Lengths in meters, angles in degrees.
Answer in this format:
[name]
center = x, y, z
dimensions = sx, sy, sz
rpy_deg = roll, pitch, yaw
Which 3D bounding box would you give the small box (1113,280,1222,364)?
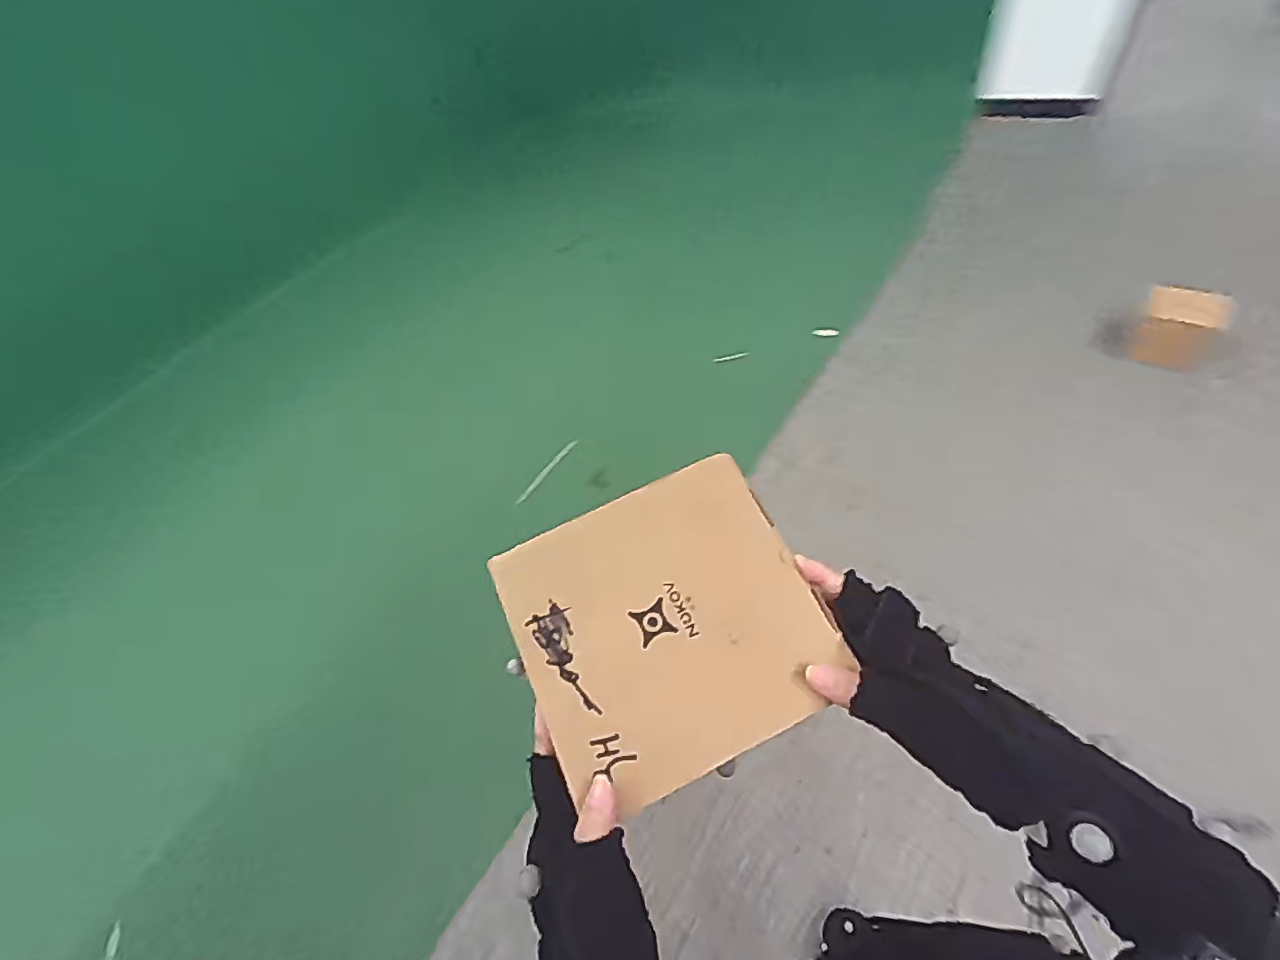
[small box]
center = 1.601, -0.477, 1.647
dimensions = 0.179, 0.176, 0.168
rpy_deg = 23, 62, 30
